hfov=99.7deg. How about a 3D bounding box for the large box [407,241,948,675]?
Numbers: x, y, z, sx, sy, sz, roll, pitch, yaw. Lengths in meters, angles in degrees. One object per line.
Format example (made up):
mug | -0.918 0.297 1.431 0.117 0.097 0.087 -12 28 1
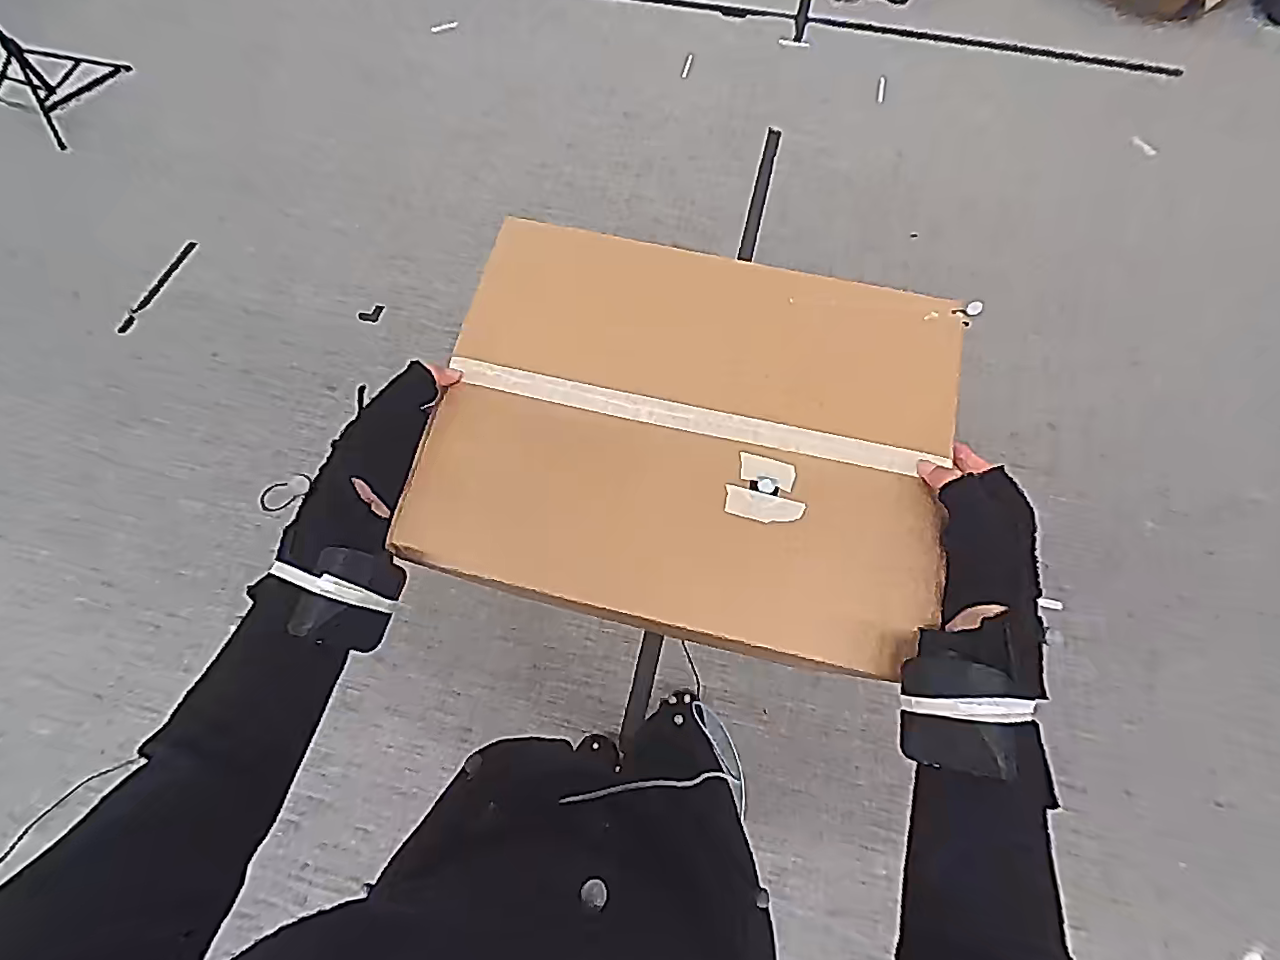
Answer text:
large box | 0.042 0.002 0.586 0.408 0.320 0.320 13 75 4
